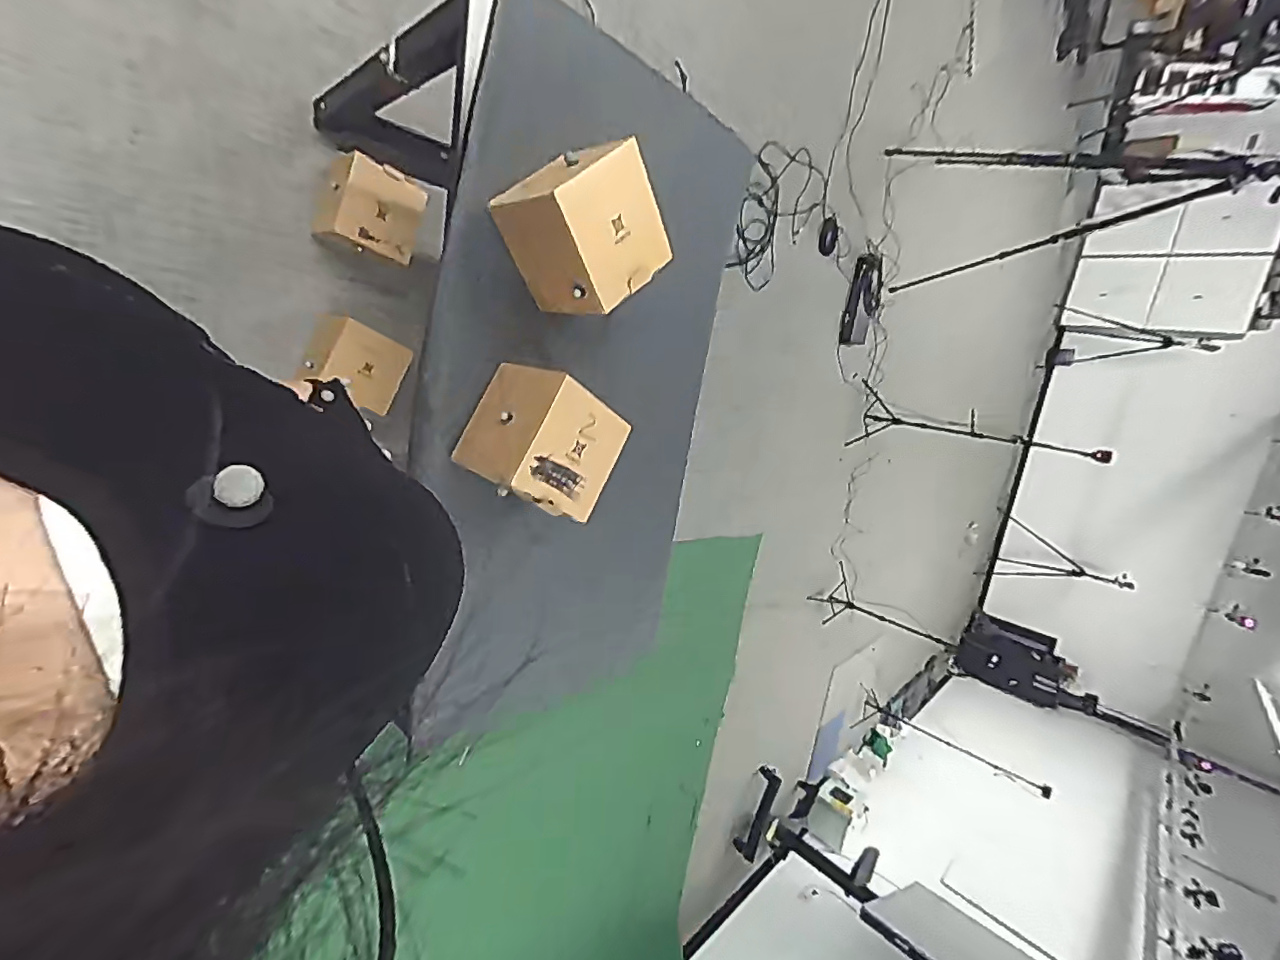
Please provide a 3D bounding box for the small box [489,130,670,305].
[{"bbox_3d":[-0.089,-0.379,0.802,0.168,0.176,0.179,-48,134,-24],"label":"small box"}]

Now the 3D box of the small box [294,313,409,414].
[{"bbox_3d":[-0.692,-0.280,1.290,0.168,0.176,0.179,27,82,-49],"label":"small box"}]

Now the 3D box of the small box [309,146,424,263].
[{"bbox_3d":[-0.629,-0.616,1.235,0.168,0.176,0.179,15,92,-48],"label":"small box"}]
